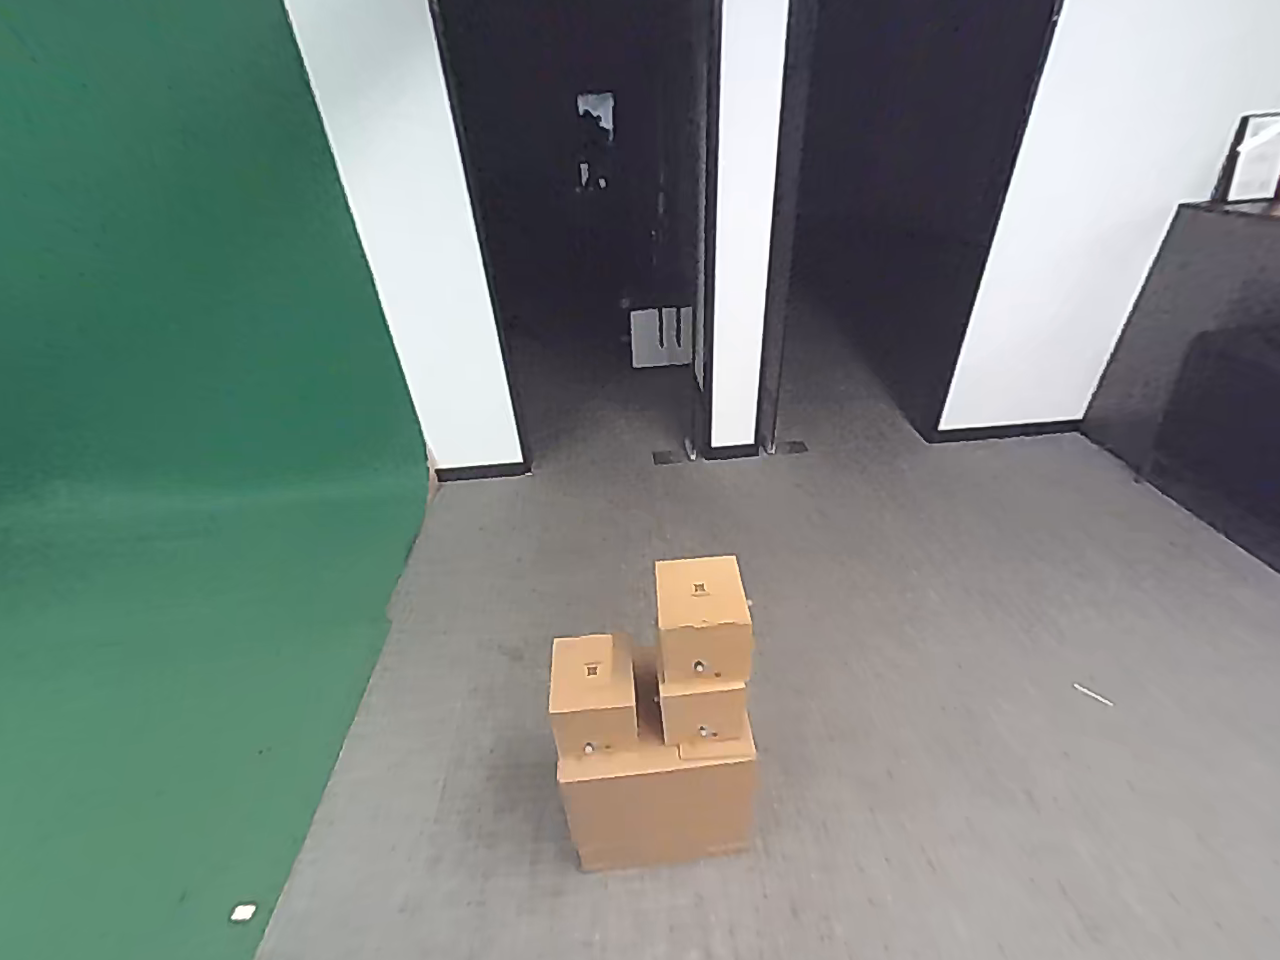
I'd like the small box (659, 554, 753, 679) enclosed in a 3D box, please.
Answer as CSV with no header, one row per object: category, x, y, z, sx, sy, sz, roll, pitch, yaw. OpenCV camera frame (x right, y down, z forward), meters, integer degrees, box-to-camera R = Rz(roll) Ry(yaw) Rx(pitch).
small box,0.124,0.270,1.078,0.168,0.176,0.179,-4,34,2
